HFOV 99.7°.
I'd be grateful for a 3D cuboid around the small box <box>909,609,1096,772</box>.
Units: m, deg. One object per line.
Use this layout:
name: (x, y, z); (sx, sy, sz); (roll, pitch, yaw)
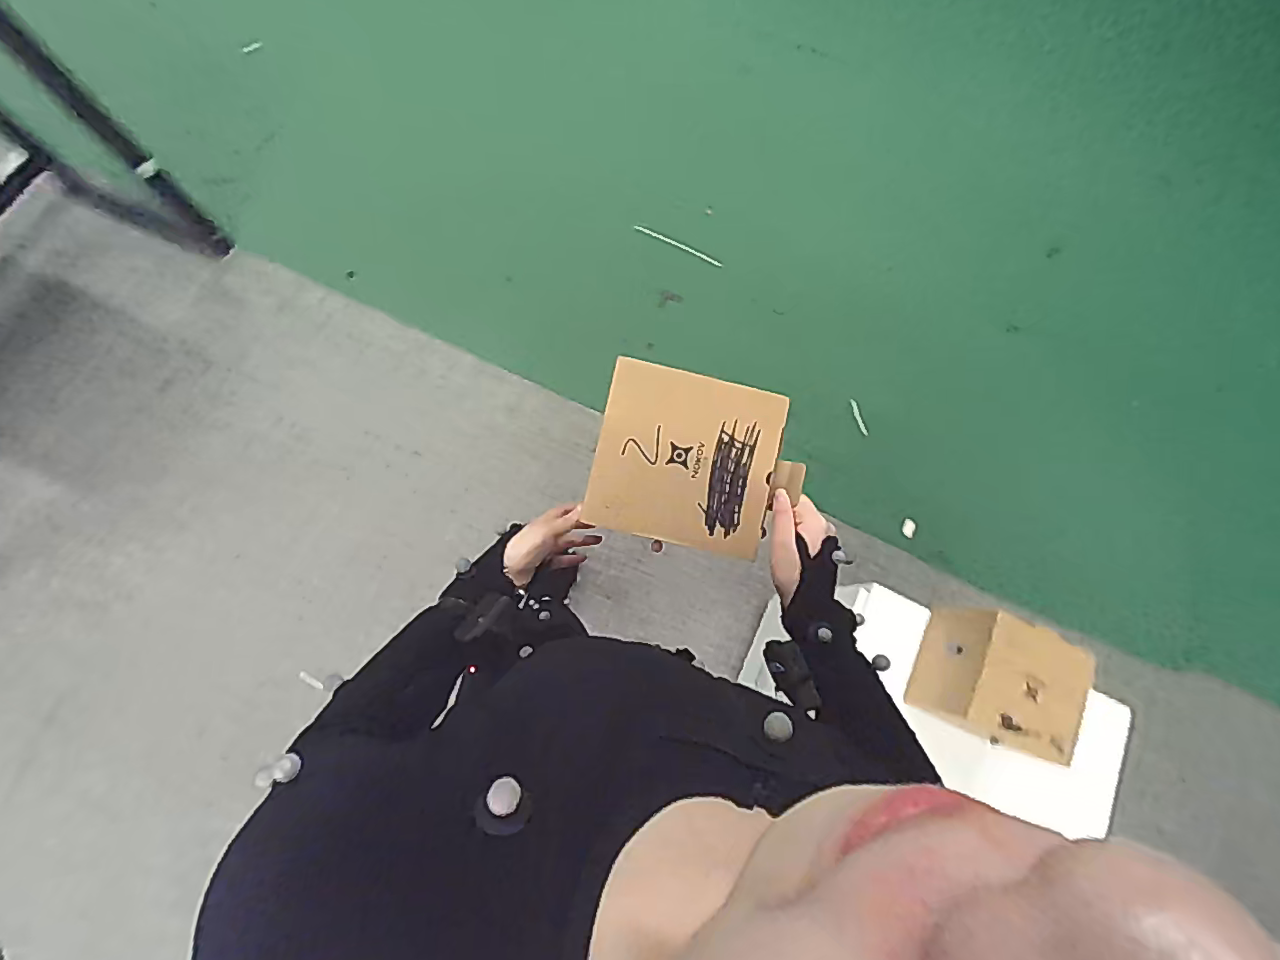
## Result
small box: (0.564, 0.322, 0.862); (0.168, 0.176, 0.179); (26, 75, 2)
